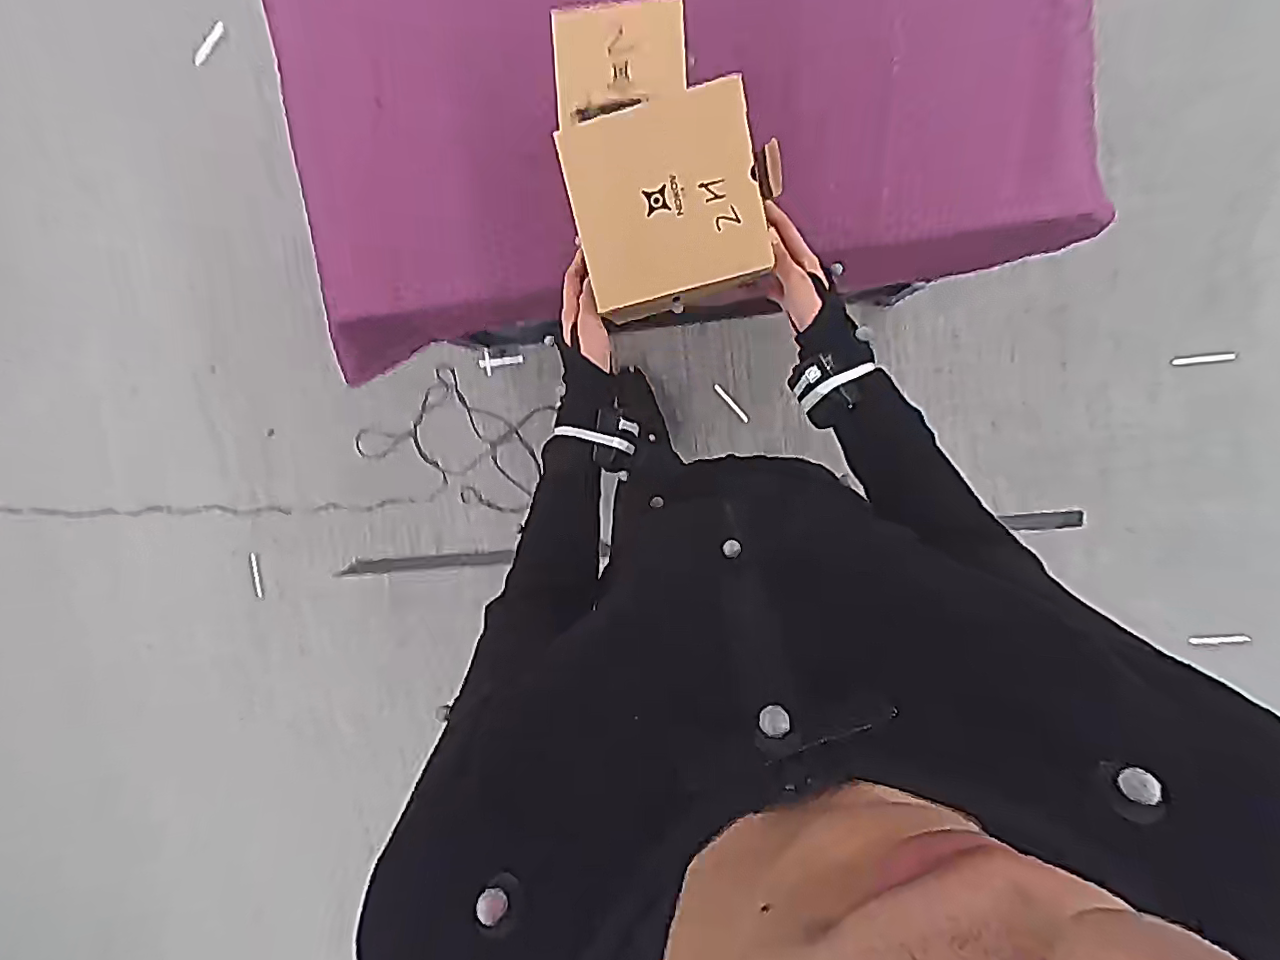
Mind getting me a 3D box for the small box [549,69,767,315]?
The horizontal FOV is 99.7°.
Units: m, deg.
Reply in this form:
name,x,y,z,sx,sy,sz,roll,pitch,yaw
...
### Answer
name,x,y,z,sx,sy,sz,roll,pitch,yaw
small box,0.024,-0.281,0.575,0.179,0.176,0.168,-13,101,6
